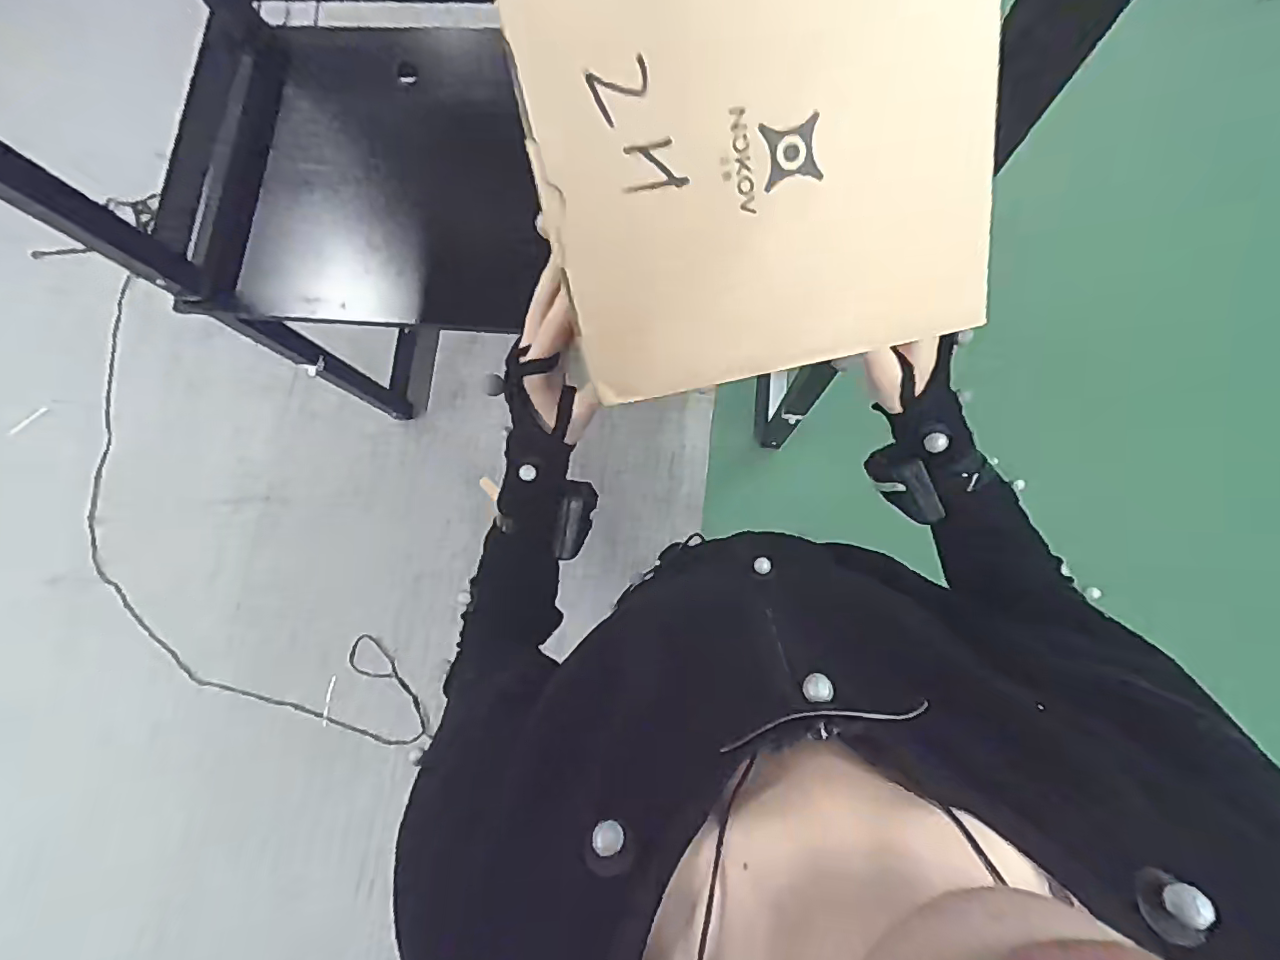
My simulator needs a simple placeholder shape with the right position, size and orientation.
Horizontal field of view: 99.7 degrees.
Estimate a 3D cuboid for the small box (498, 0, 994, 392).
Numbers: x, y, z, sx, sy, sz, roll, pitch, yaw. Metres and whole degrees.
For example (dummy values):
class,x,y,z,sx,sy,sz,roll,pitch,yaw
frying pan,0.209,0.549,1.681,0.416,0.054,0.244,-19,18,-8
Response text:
class,x,y,z,sx,sy,sz,roll,pitch,yaw
small box,0.042,-0.158,0.278,0.179,0.176,0.168,-12,111,2
